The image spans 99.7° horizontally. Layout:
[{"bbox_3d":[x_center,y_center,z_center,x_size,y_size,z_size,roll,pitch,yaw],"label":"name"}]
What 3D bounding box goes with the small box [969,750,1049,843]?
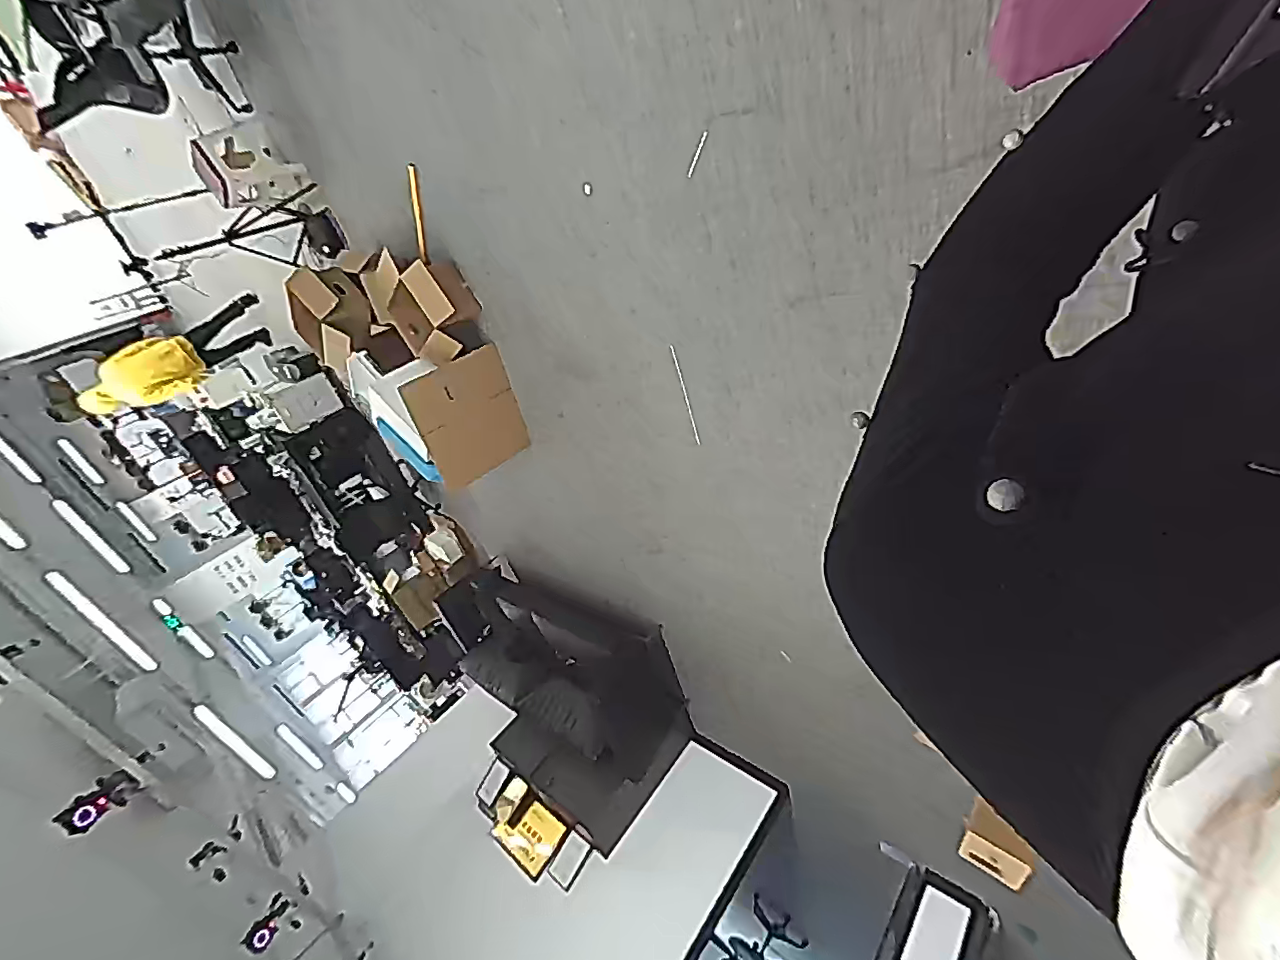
[{"bbox_3d":[1.216,1.034,1.779,0.168,0.176,0.179,22,136,36],"label":"small box"}]
